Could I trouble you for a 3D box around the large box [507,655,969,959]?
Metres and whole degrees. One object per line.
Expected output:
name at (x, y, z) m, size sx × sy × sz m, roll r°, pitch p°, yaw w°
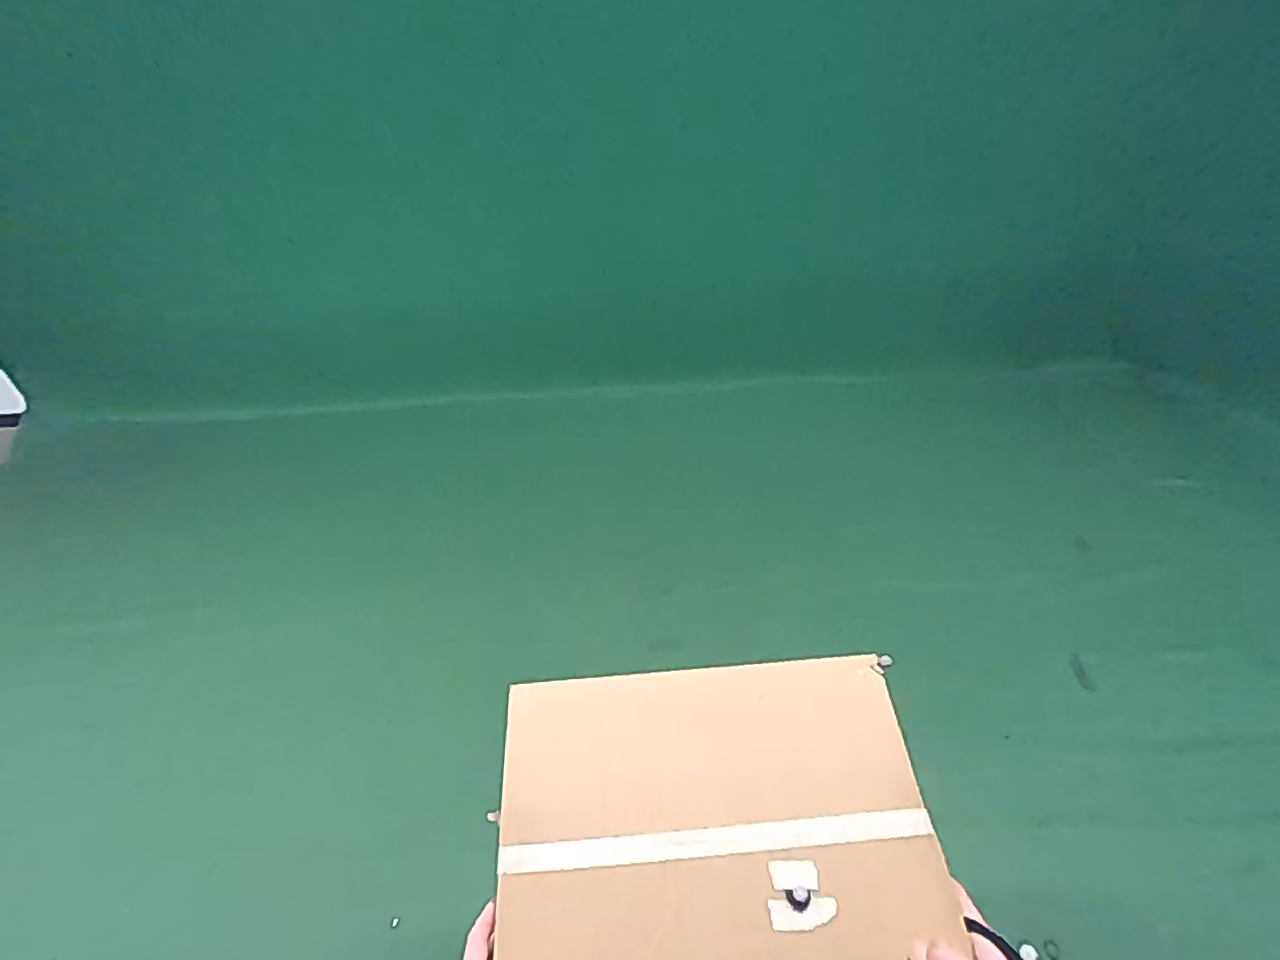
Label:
large box at (0.076, 0.425, 0.637) m, size 0.408 × 0.320 × 0.320 m, roll -5°, pitch 57°, yaw -2°
